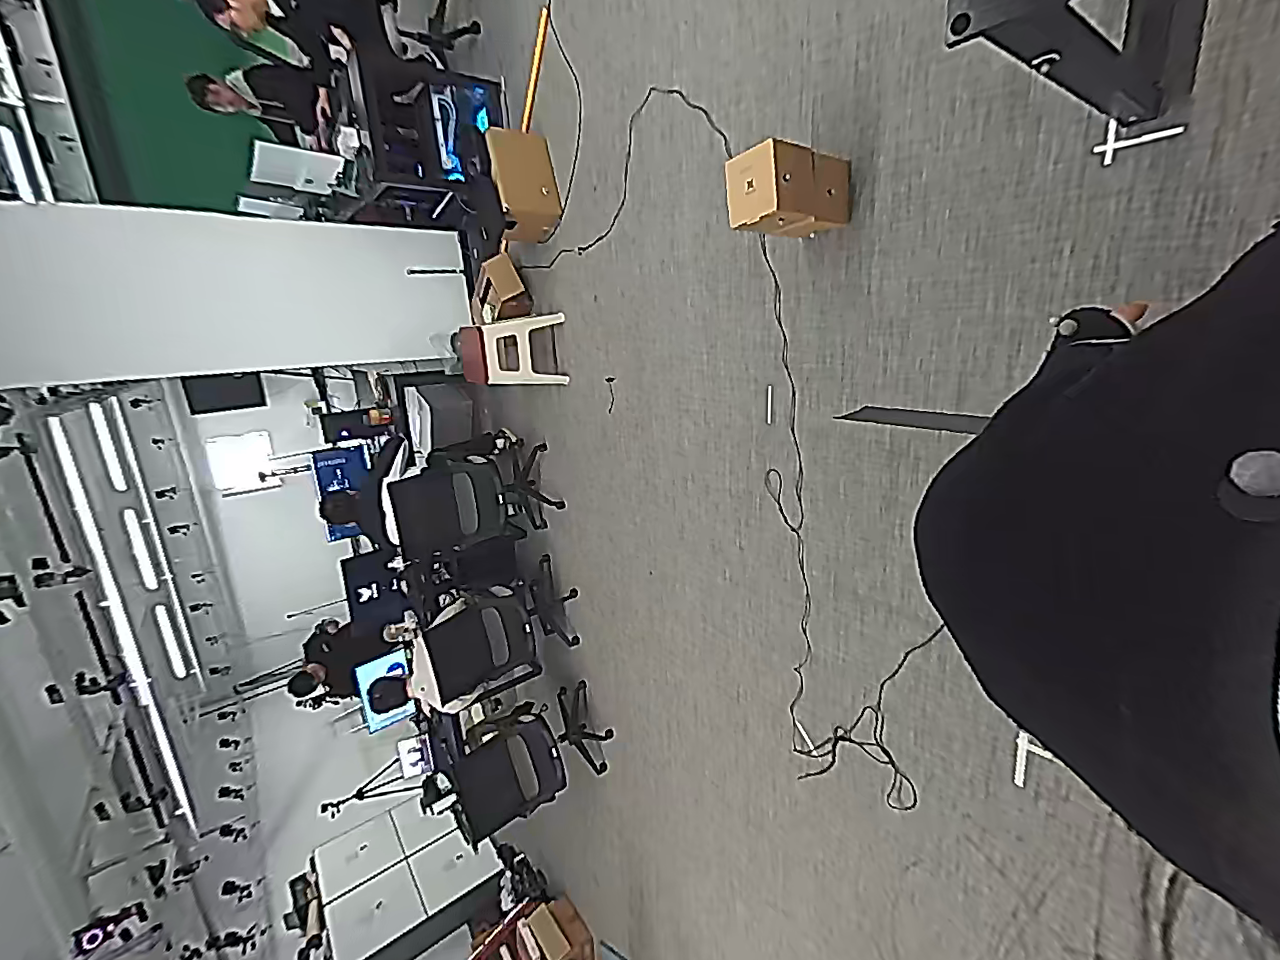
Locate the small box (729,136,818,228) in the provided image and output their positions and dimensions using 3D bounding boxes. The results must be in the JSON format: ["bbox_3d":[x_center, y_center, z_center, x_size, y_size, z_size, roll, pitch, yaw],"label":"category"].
[{"bbox_3d":[0.365,-0.796,1.466,0.168,0.176,0.179,7,106,52],"label":"small box"}]

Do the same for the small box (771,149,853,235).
[{"bbox_3d":[0.495,-0.821,1.559,0.168,0.176,0.179,12,112,52],"label":"small box"}]
